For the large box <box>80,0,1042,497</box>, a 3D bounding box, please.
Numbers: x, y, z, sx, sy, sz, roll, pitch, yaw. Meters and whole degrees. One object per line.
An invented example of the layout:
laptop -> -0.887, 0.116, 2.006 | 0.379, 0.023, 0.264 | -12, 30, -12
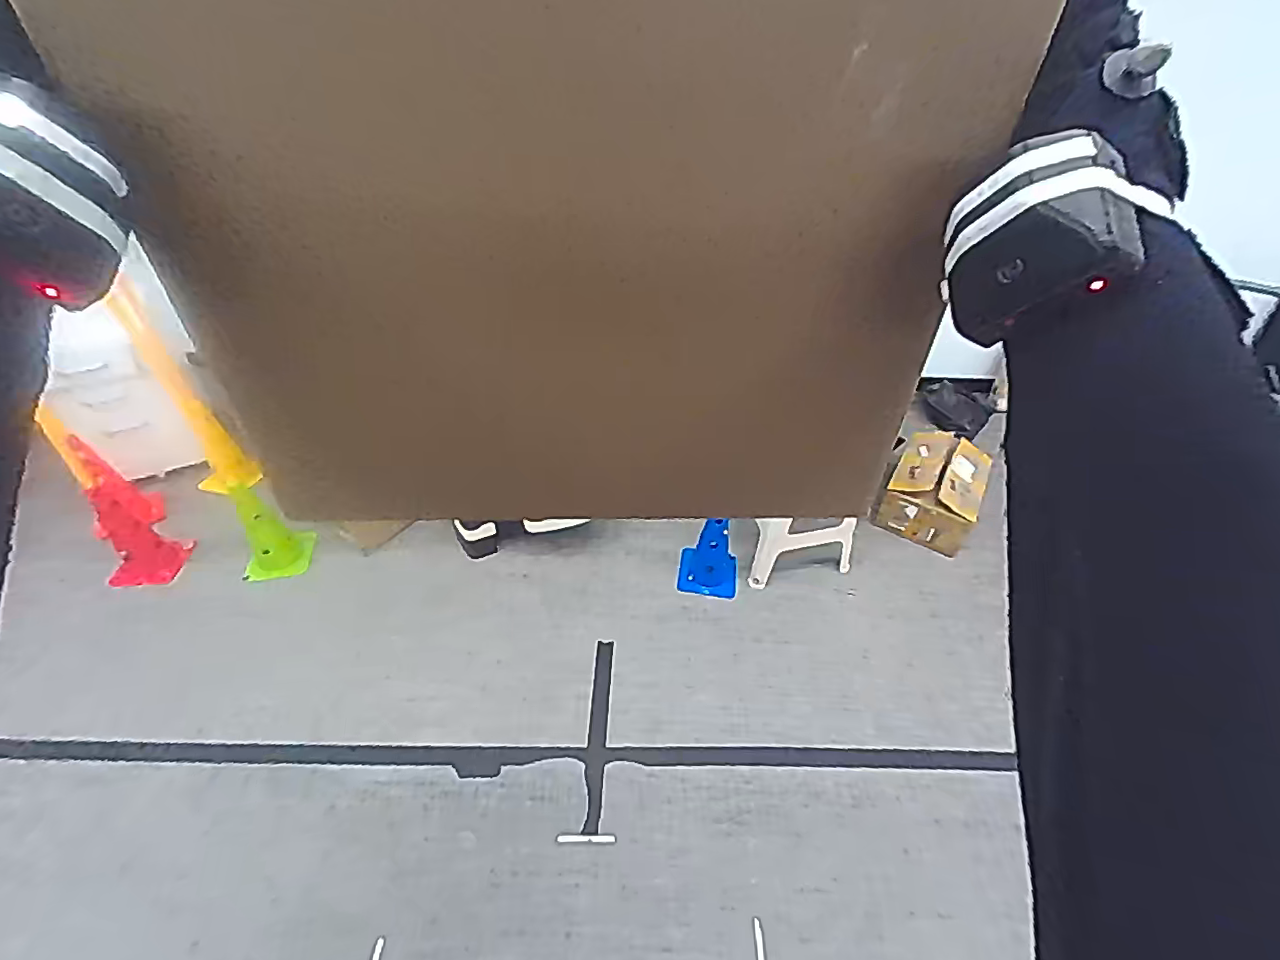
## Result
large box -> -0.039, -0.197, 0.406 | 0.408, 0.320, 0.320 | 1, 39, -3
